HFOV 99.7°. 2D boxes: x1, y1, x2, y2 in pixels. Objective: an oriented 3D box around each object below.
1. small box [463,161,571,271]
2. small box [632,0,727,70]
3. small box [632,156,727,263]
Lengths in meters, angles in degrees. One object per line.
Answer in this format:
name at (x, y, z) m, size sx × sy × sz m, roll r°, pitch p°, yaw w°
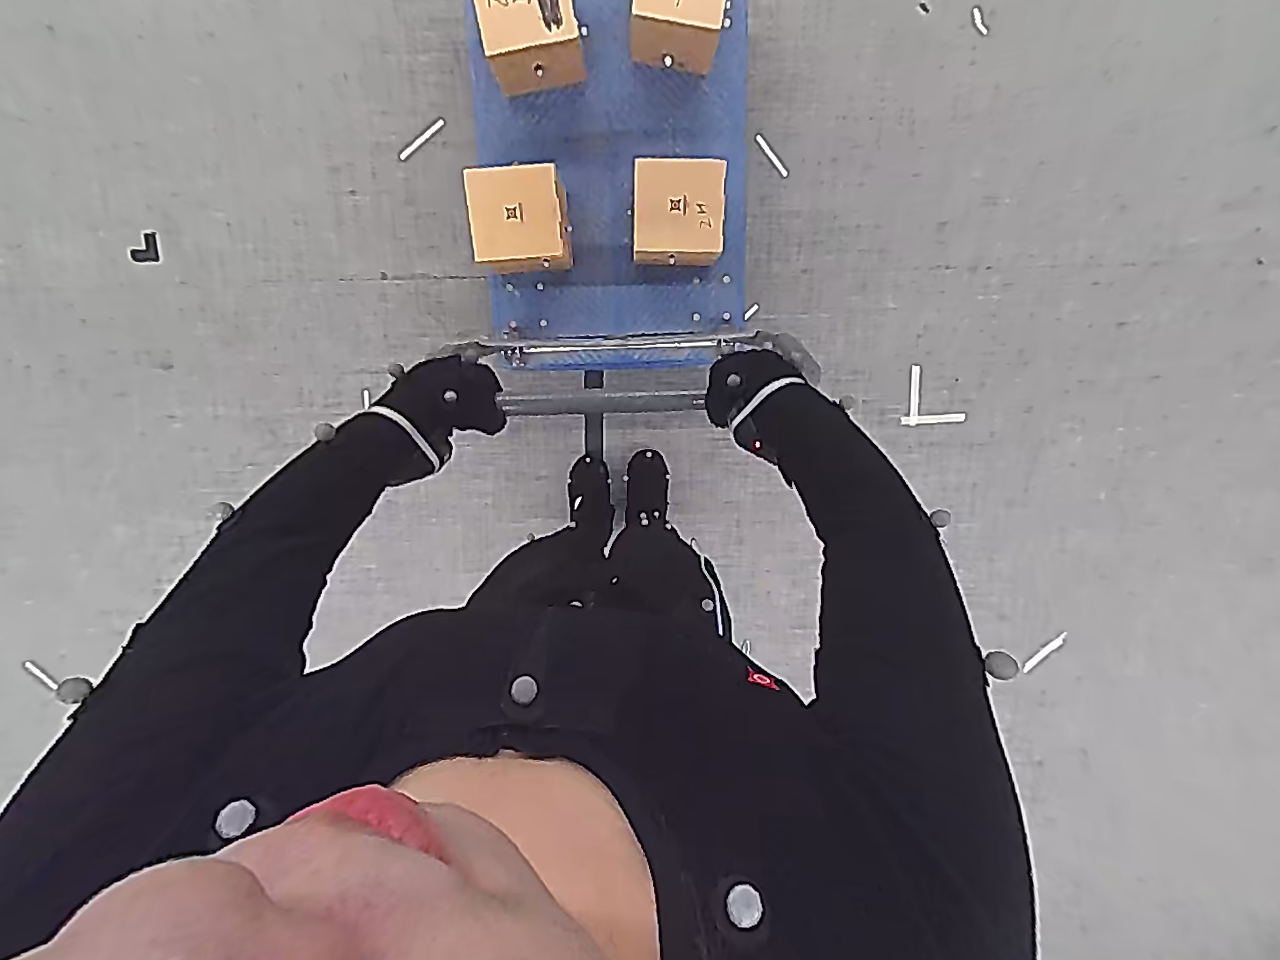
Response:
small box at (-0.241, -0.529, 1.104) m, size 0.179 × 0.176 × 0.168 m, roll -5°, pitch 104°, yaw -1°
small box at (0.077, -0.917, 1.010) m, size 0.168 × 0.176 × 0.179 m, roll 8°, pitch 105°, yaw -3°
small box at (0.075, -0.543, 1.104) m, size 0.179 × 0.176 × 0.168 m, roll 1°, pitch 104°, yaw -1°
